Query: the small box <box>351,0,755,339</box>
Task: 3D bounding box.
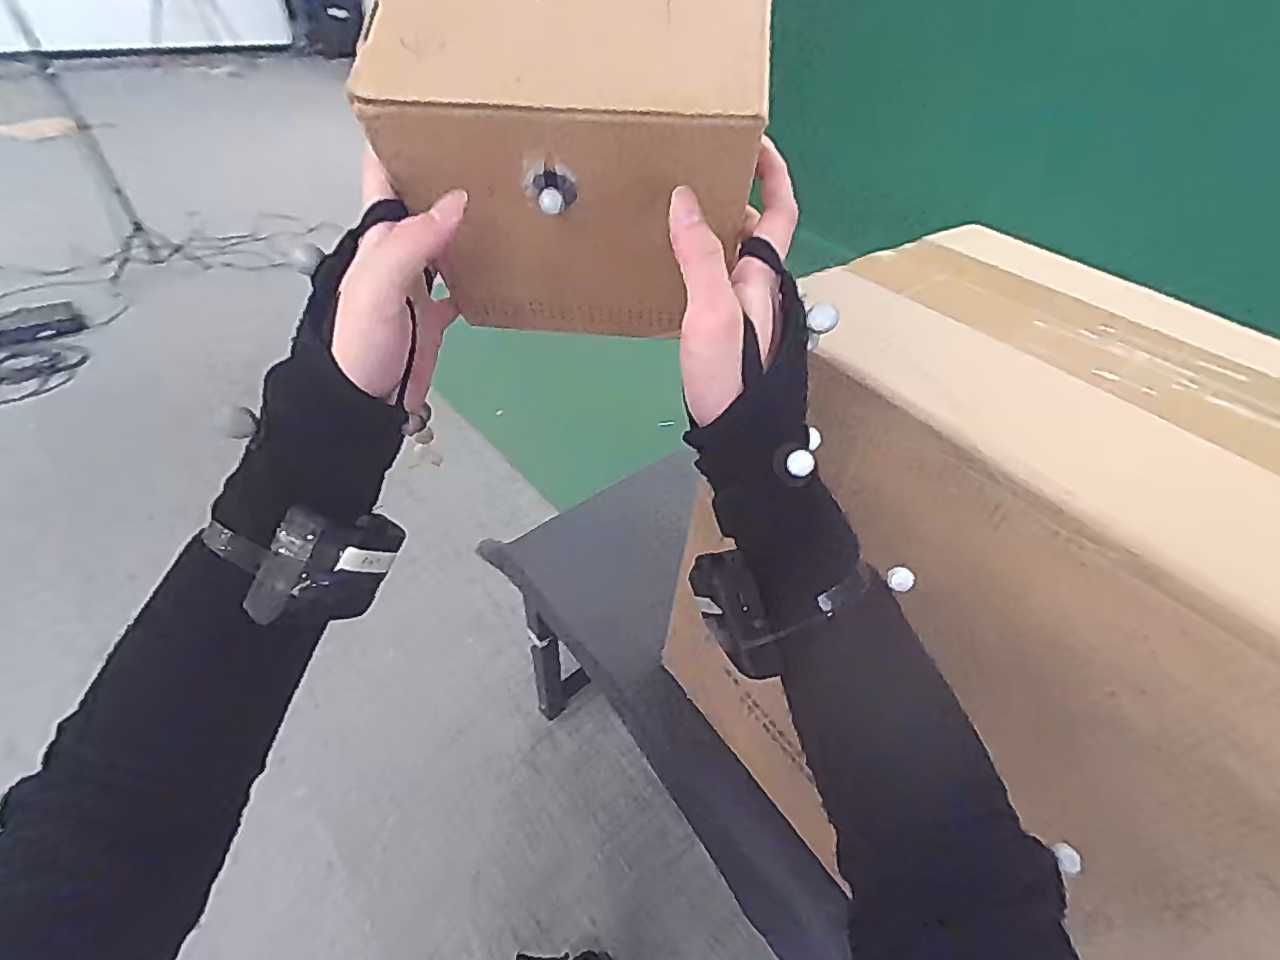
[{"bbox_3d":[-0.031,-0.202,0.329,0.179,0.176,0.168,4,73,2],"label":"small box"}]
